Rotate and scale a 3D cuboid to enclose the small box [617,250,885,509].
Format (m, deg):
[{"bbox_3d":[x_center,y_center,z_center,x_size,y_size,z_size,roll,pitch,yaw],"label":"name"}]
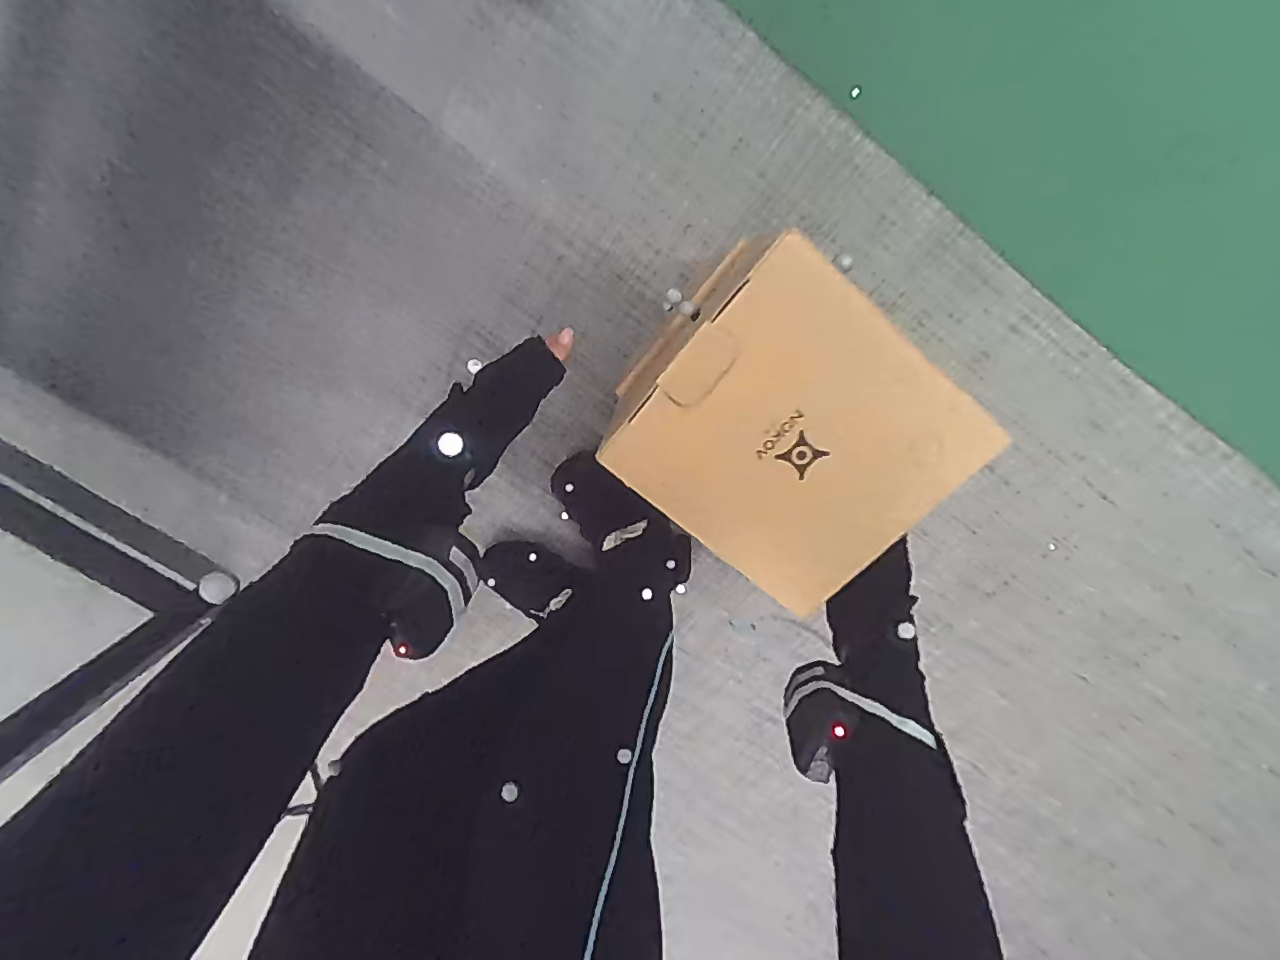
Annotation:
[{"bbox_3d":[0.102,-0.109,0.544,0.179,0.176,0.168,40,110,-11],"label":"small box"}]
